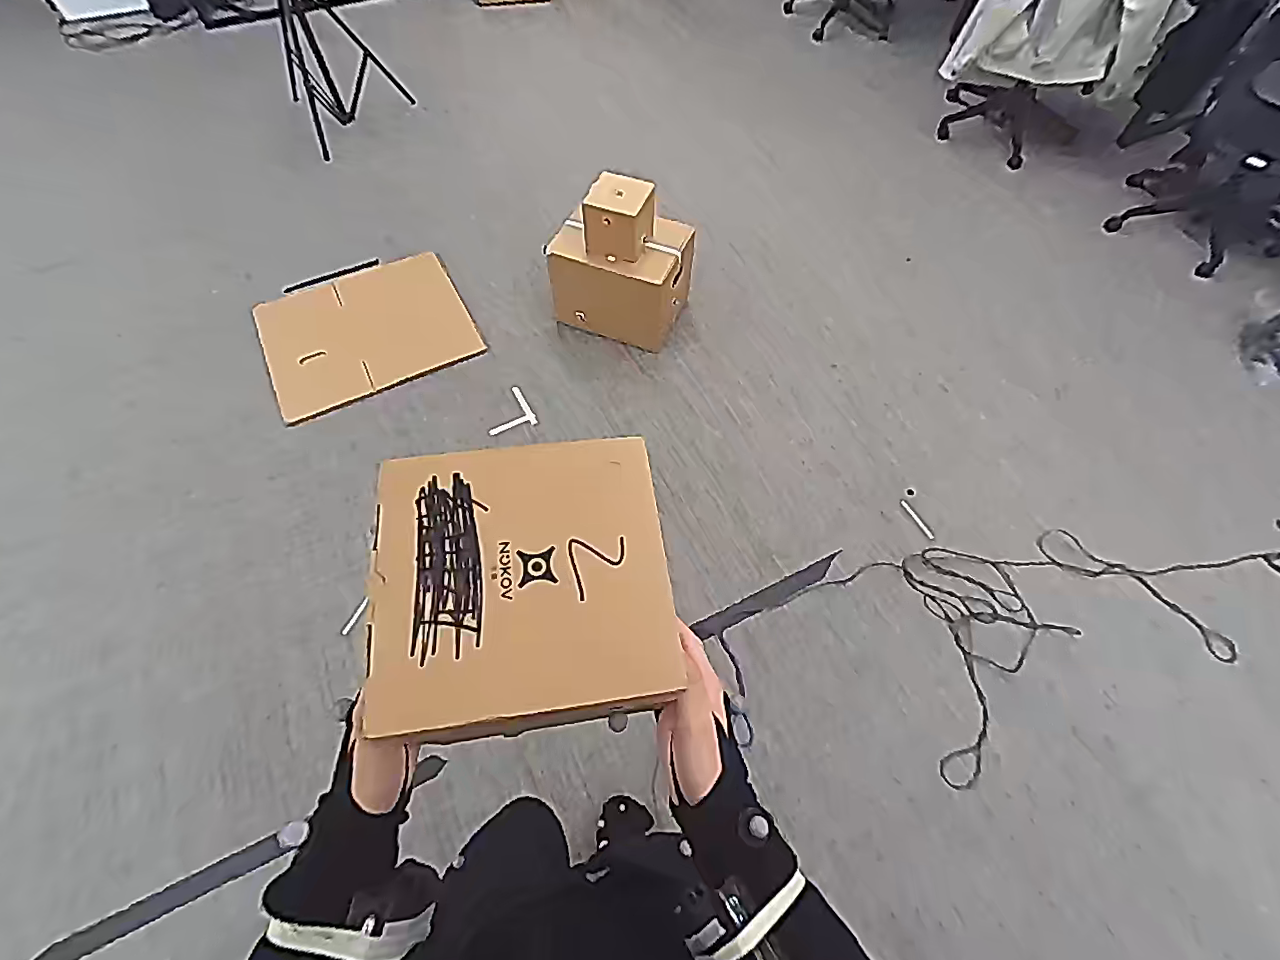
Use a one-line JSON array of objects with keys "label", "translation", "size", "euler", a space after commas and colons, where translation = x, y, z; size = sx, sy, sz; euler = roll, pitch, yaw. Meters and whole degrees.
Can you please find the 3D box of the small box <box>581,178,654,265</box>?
[{"label": "small box", "translation": [-0.068, -0.801, 1.685], "size": [0.179, 0.176, 0.168], "euler": [19, 63, 9]}]
